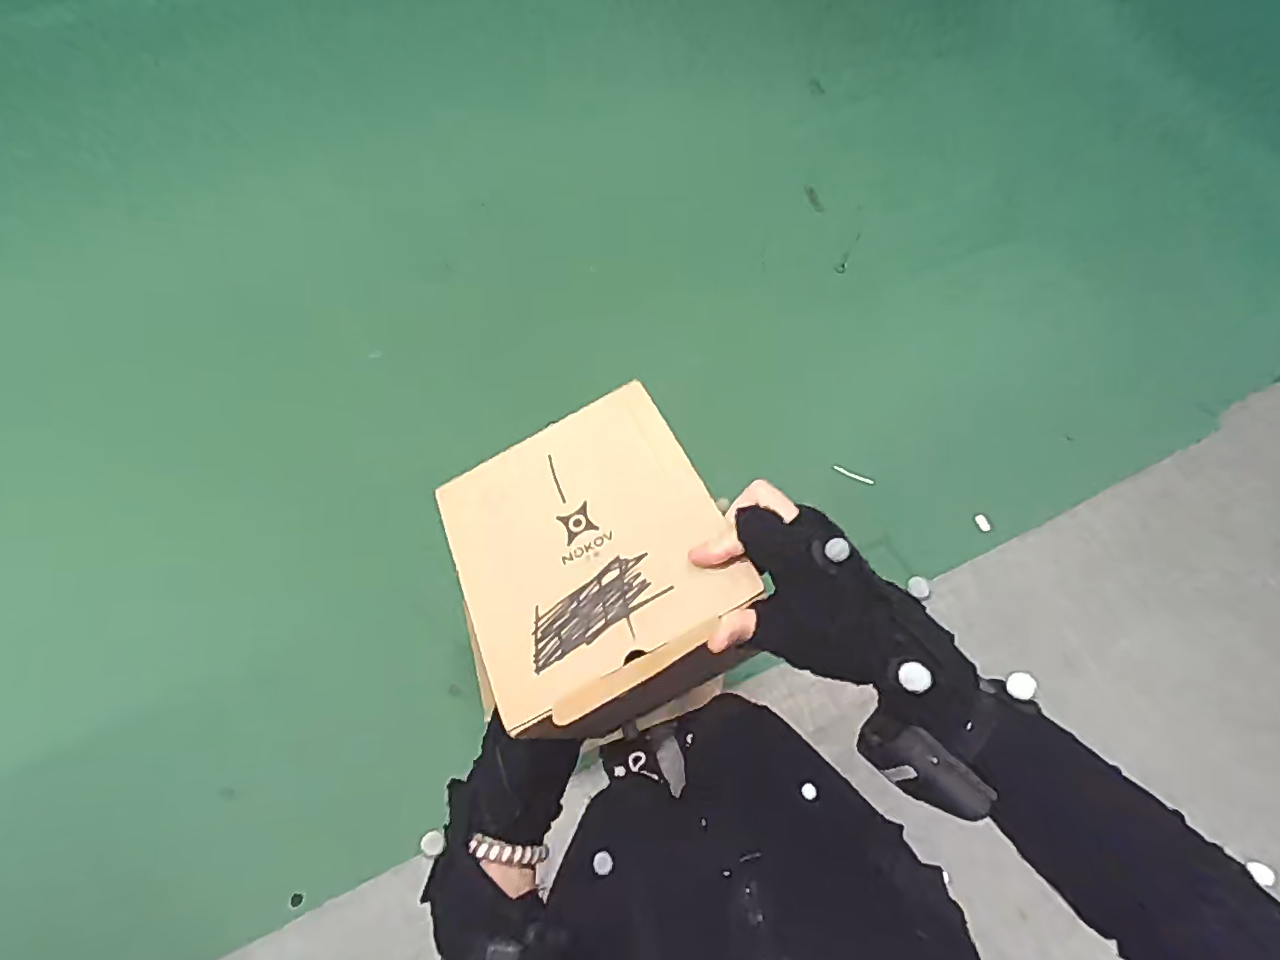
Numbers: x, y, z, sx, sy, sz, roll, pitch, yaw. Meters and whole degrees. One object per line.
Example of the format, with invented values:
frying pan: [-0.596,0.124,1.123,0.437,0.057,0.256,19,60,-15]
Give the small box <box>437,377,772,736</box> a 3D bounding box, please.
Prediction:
small box: [-0.015,0.065,0.400,0.168,0.176,0.179,-29,61,0]
